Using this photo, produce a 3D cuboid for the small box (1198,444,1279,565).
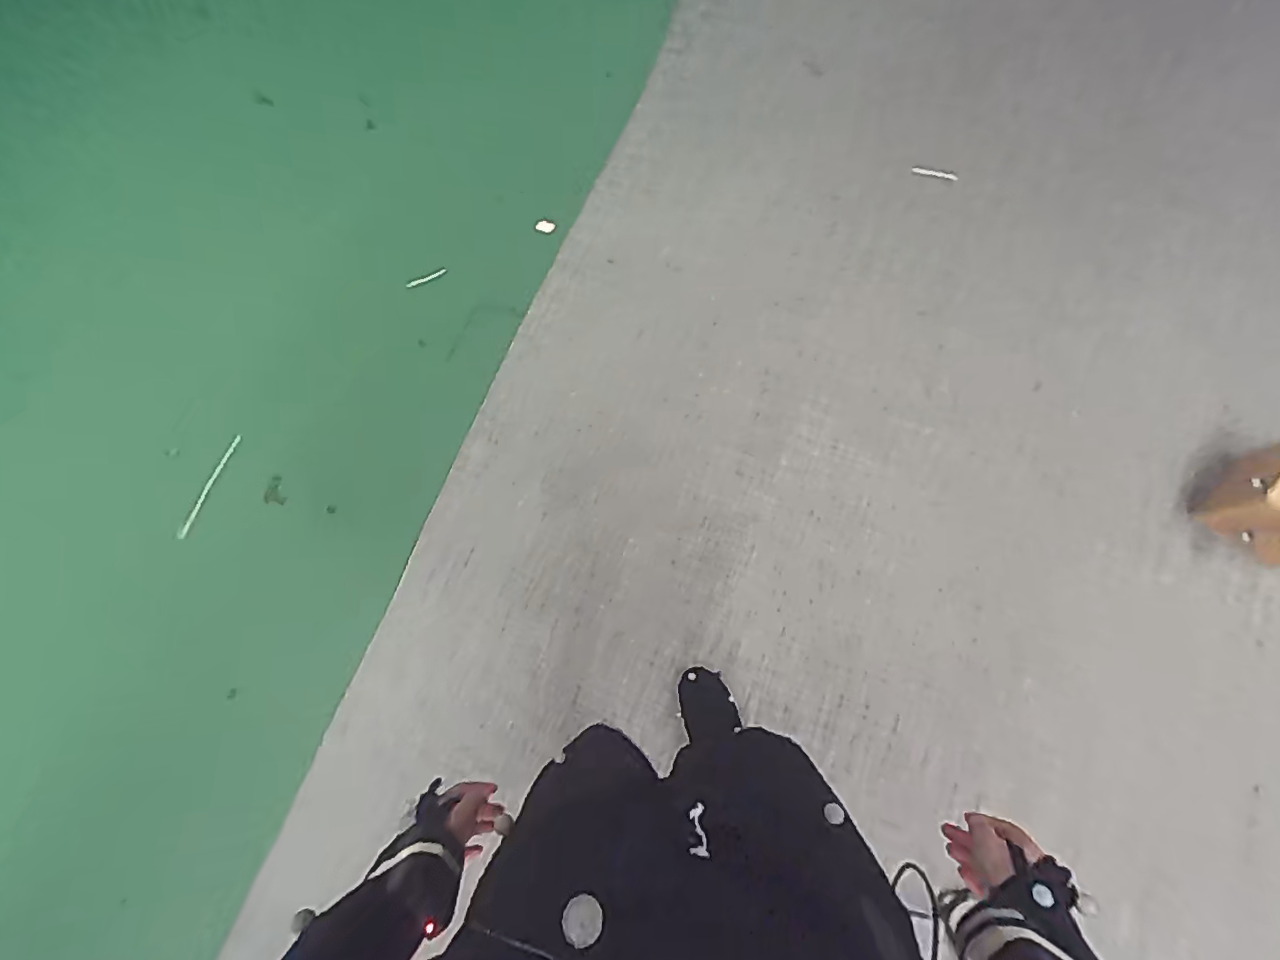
[{"bbox_3d":[1.221,0.039,1.004,0.168,0.176,0.179,40,85,16],"label":"small box"}]
